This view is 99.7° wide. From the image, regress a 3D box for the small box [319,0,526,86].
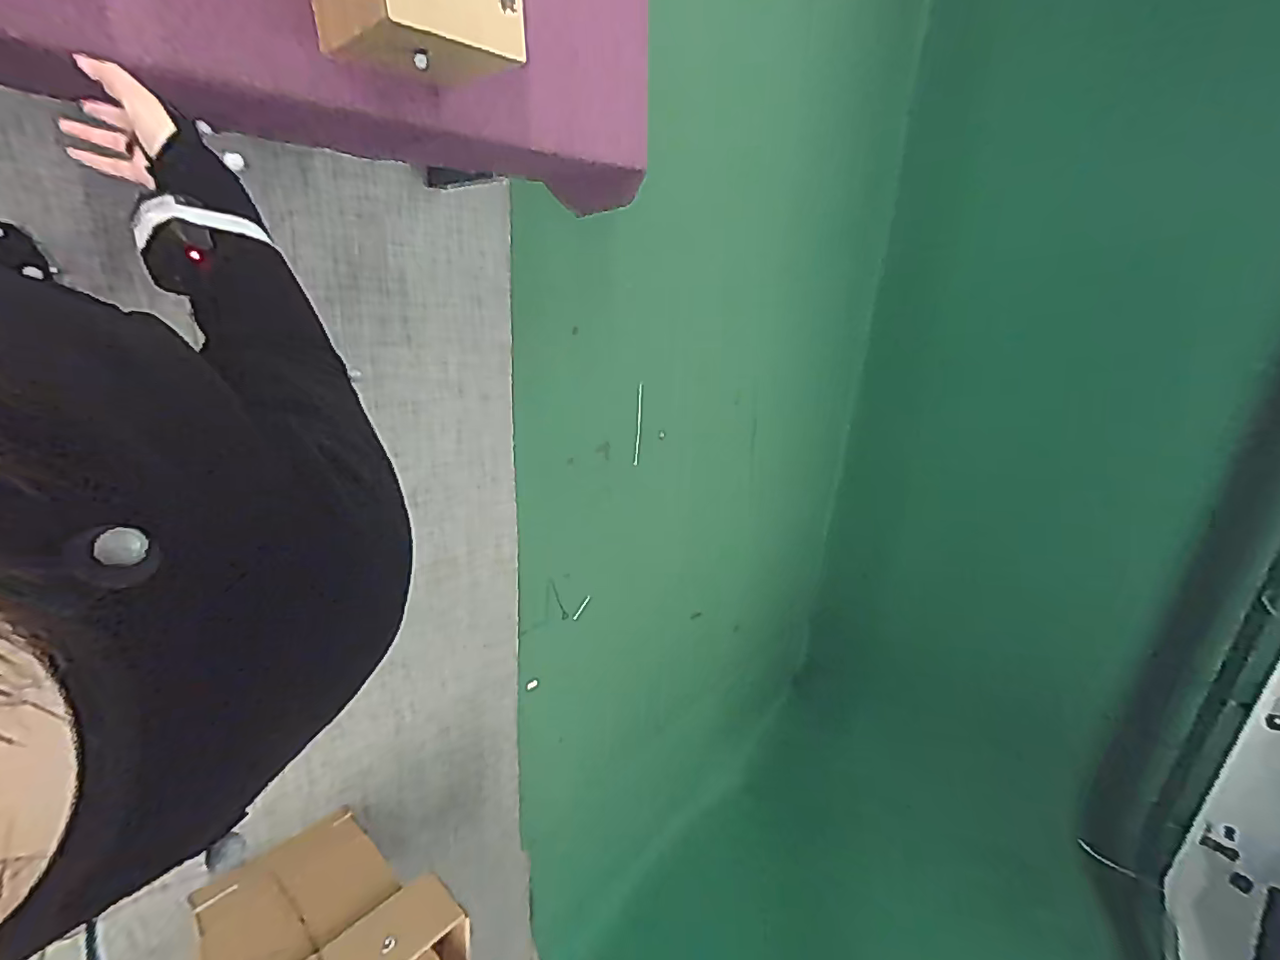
[{"bbox_3d":[-0.255,-0.574,0.613,0.179,0.176,0.168,-22,121,-43],"label":"small box"}]
